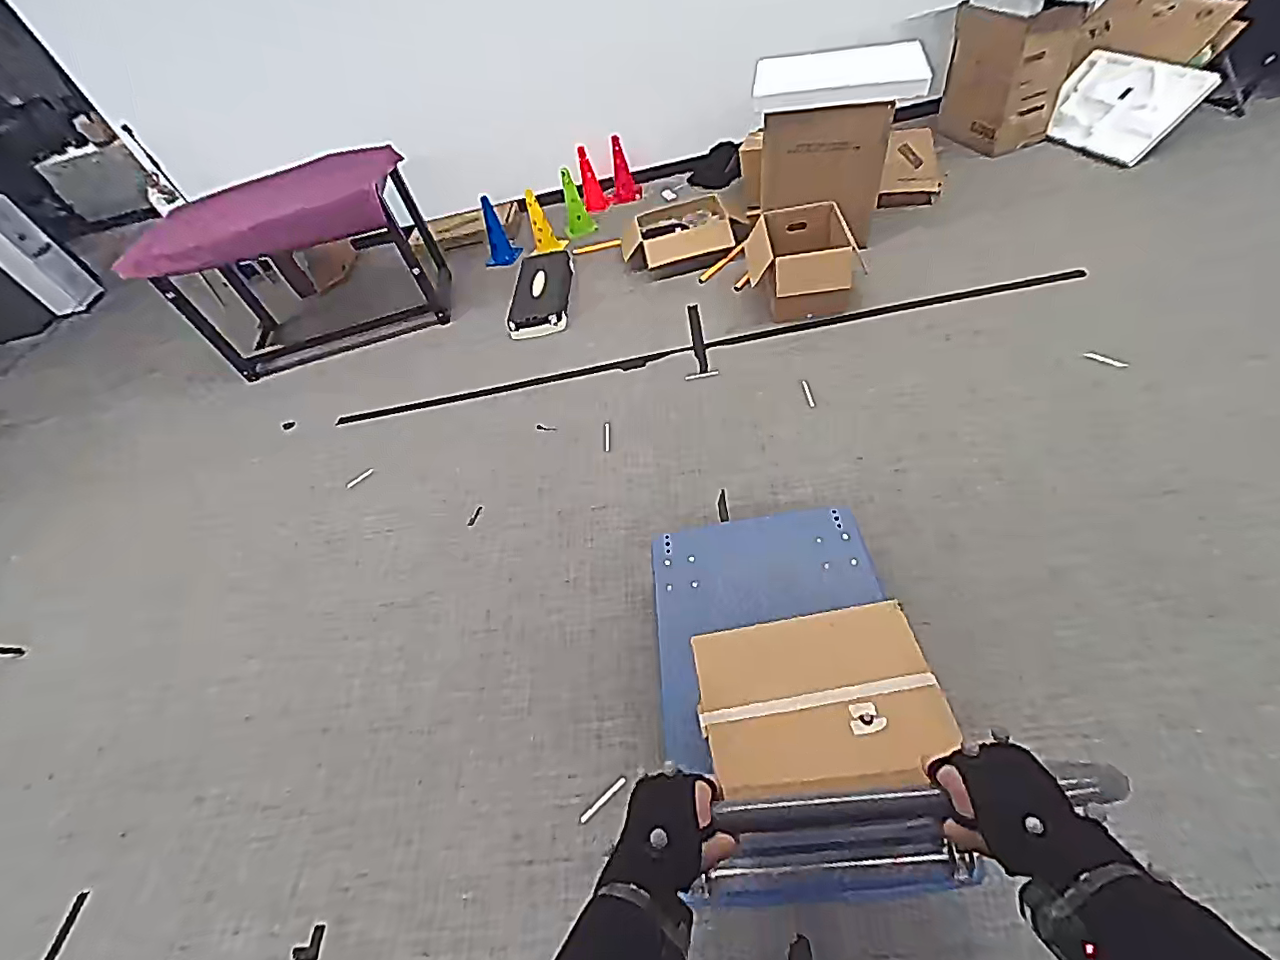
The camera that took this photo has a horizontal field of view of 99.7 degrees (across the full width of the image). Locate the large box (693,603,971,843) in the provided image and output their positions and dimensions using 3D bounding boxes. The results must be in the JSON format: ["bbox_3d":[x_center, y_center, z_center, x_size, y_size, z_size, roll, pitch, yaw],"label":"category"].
[{"bbox_3d":[0.339,0.488,1.072,0.408,0.320,0.320,-11,49,3],"label":"large box"}]
